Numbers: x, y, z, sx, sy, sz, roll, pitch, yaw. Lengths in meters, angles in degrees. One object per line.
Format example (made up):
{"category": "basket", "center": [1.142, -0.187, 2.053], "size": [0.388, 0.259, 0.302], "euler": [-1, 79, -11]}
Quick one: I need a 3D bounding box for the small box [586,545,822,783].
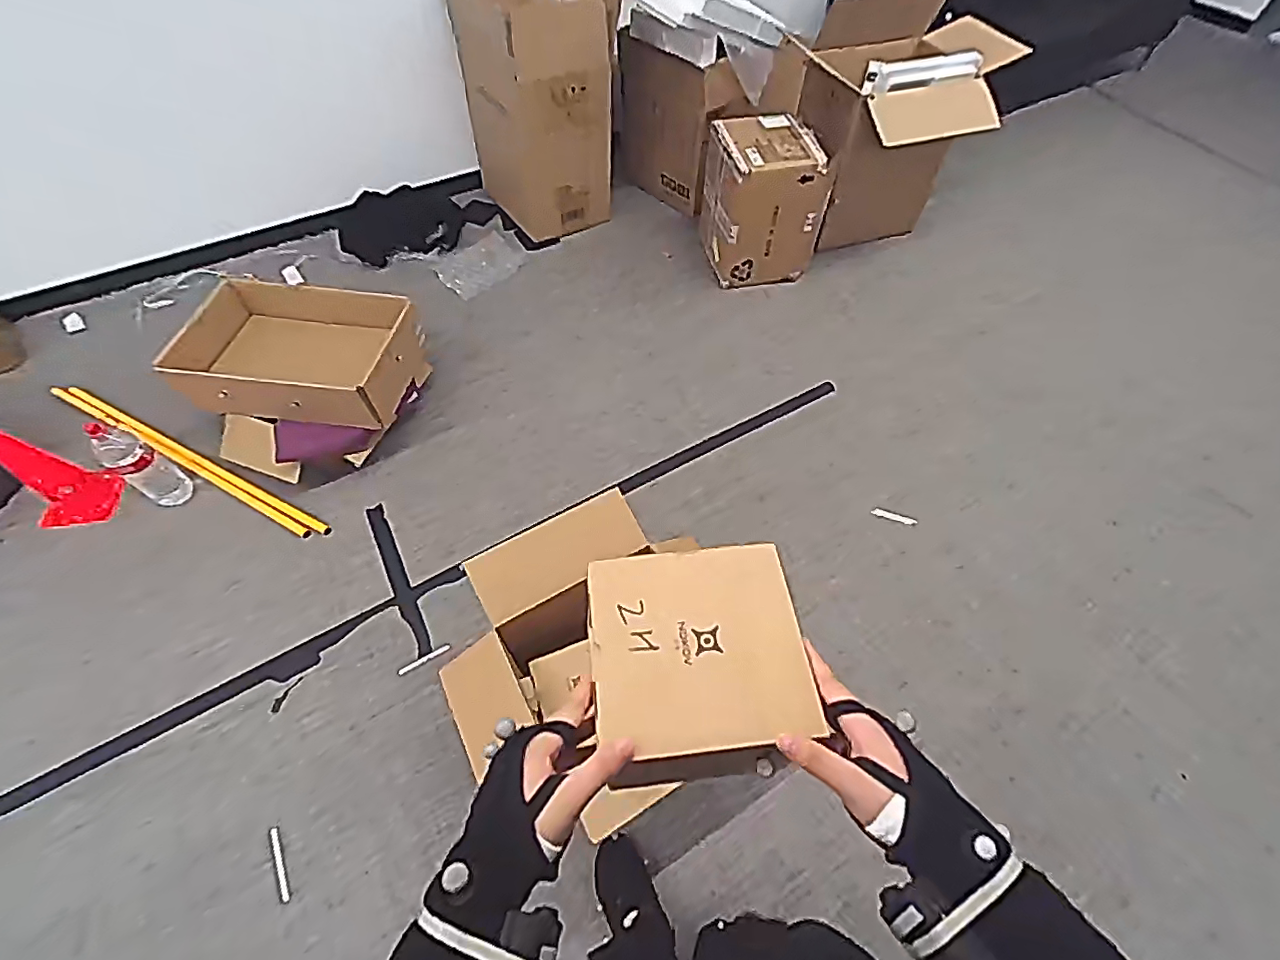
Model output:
{"category": "small box", "center": [0.045, 0.178, 0.512], "size": [0.179, 0.176, 0.168], "euler": [-6, 55, -3]}
